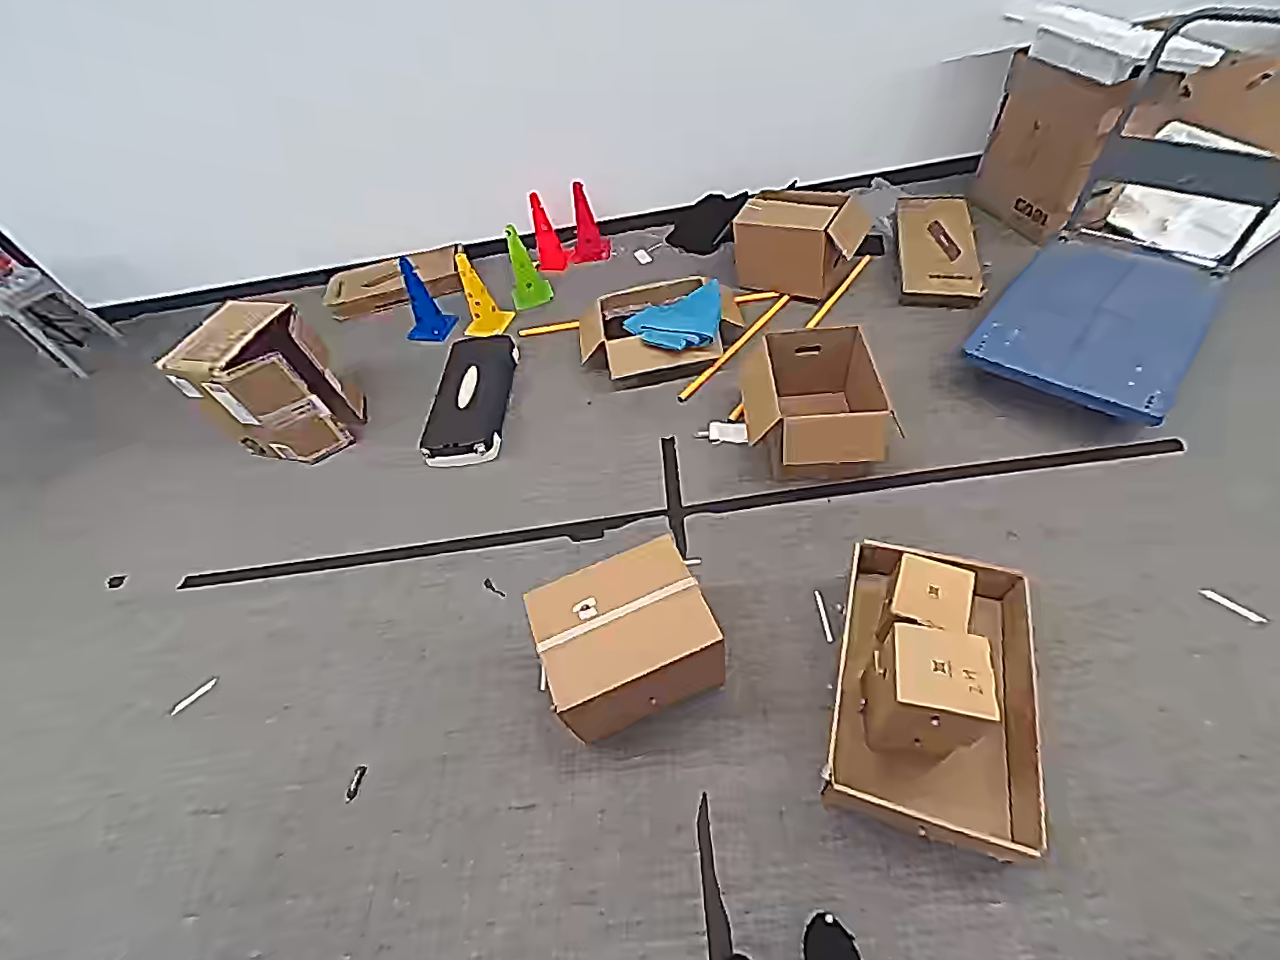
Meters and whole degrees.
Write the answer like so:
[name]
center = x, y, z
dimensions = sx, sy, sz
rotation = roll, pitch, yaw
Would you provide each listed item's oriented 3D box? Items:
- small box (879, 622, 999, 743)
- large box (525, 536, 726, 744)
[small box]
center = 0.591, 0.412, 1.094
dimensions = 0.179, 0.176, 0.168
rotation = 8, 52, 15
[large box]
center = -0.028, 0.415, 1.390
dimensions = 0.408, 0.320, 0.320
rotation = -23, 51, -7
